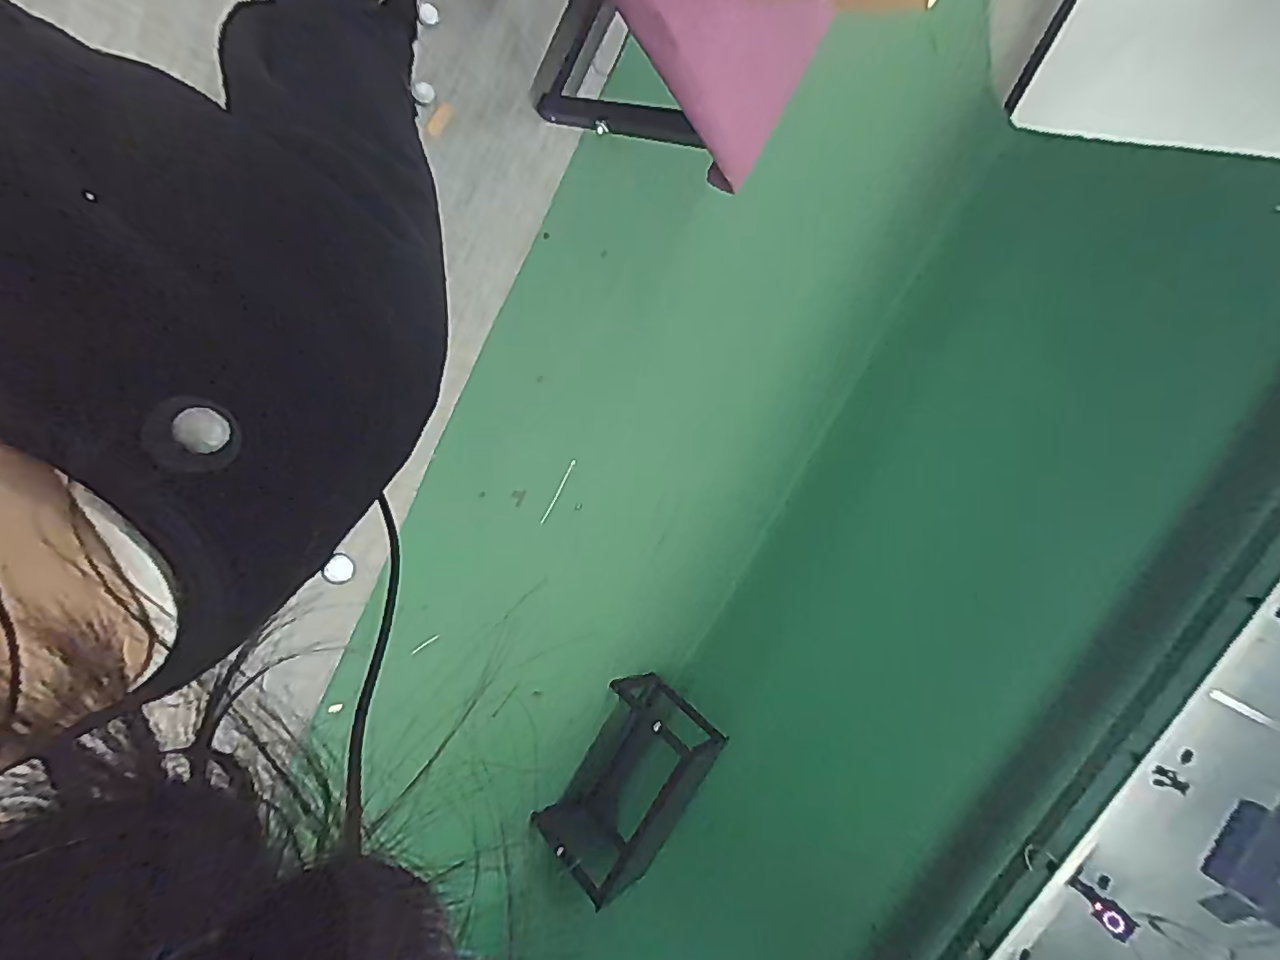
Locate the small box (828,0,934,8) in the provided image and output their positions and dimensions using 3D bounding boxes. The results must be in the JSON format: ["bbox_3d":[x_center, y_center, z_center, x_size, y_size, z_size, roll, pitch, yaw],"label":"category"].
[{"bbox_3d":[0.366,-0.816,0.765,0.168,0.176,0.179,-58,148,1],"label":"small box"}]
